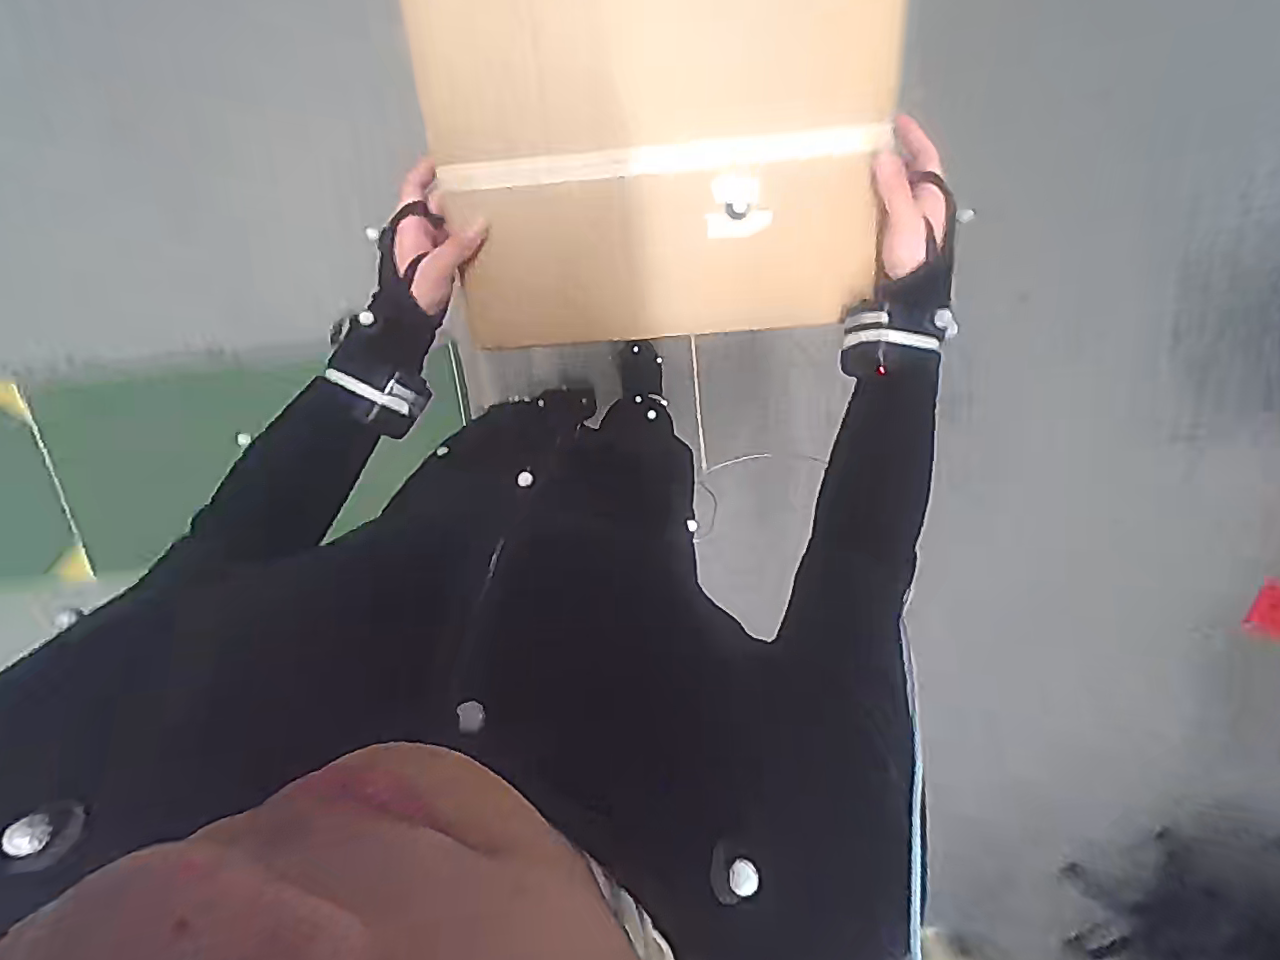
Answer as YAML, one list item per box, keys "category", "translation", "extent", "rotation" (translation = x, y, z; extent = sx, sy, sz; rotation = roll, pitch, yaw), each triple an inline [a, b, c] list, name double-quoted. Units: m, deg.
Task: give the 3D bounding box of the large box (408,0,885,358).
- category: "large box"
  translation: [0.016, -0.346, 0.635]
  extent: [0.408, 0.320, 0.320]
  rotation: [-5, 115, 2]
